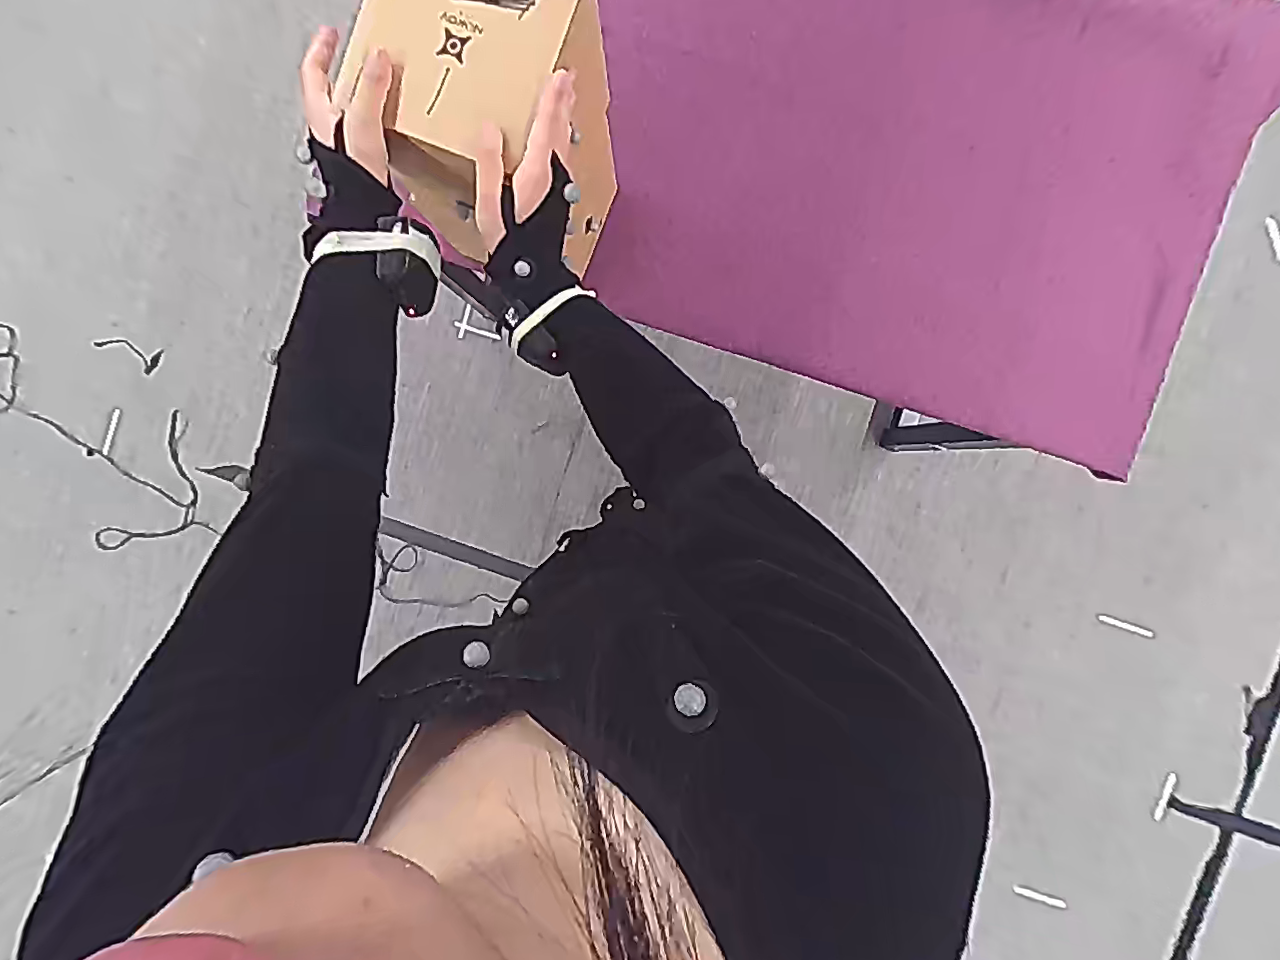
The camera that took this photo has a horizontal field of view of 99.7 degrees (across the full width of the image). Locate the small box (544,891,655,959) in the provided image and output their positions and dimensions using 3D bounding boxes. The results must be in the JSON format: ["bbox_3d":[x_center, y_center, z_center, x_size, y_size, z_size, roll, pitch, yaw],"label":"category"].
[{"bbox_3d":[-0.075,0.818,0.859,0.168,0.176,0.179,19,94,0],"label":"small box"}]

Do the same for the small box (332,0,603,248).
[{"bbox_3d":[-0.140,-0.354,0.507,0.168,0.176,0.179,21,94,1],"label":"small box"}]

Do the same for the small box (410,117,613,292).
[{"bbox_3d":[-0.142,-0.354,0.671,0.179,0.176,0.168,22,93,1],"label":"small box"}]
